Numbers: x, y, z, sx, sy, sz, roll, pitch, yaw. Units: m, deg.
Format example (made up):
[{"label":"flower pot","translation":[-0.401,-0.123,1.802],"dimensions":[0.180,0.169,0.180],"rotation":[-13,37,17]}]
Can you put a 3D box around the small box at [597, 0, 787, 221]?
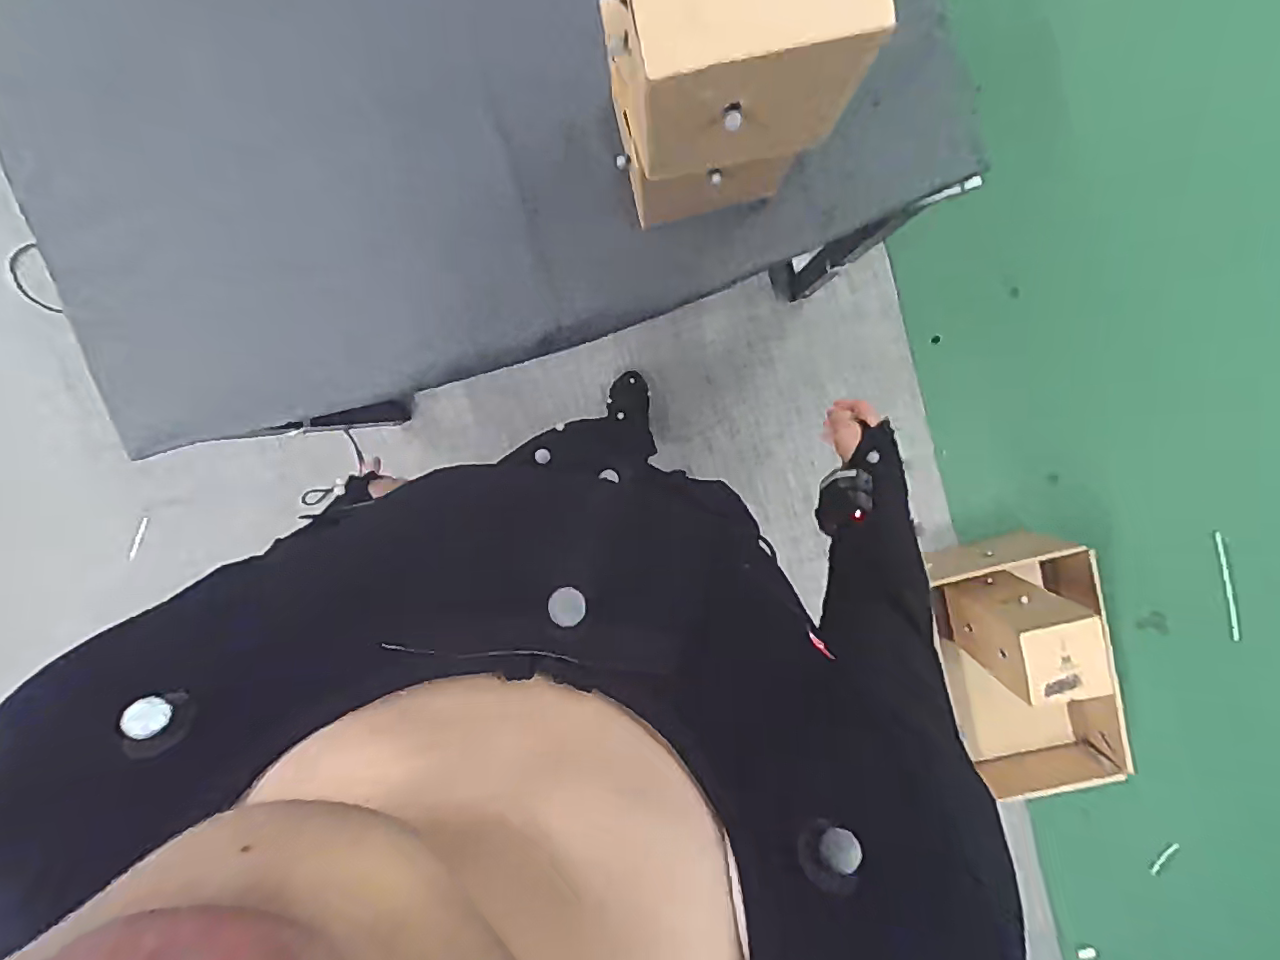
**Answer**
[{"label":"small box","translation":[0.064,-0.408,0.590],"dimensions":[0.179,0.176,0.168],"rotation":[-13,97,3]}]

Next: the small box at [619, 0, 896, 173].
[{"label":"small box","translation":[0.074,-0.373,0.429],"dimensions":[0.179,0.176,0.168],"rotation":[-10,97,4]}]

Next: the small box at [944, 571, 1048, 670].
[{"label":"small box","translation":[0.888,0.338,1.347],"dimensions":[0.168,0.176,0.179],"rotation":[-15,98,6]}]

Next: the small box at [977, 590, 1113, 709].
[{"label":"small box","translation":[0.877,0.365,1.185],"dimensions":[0.168,0.176,0.179],"rotation":[-14,97,4]}]
